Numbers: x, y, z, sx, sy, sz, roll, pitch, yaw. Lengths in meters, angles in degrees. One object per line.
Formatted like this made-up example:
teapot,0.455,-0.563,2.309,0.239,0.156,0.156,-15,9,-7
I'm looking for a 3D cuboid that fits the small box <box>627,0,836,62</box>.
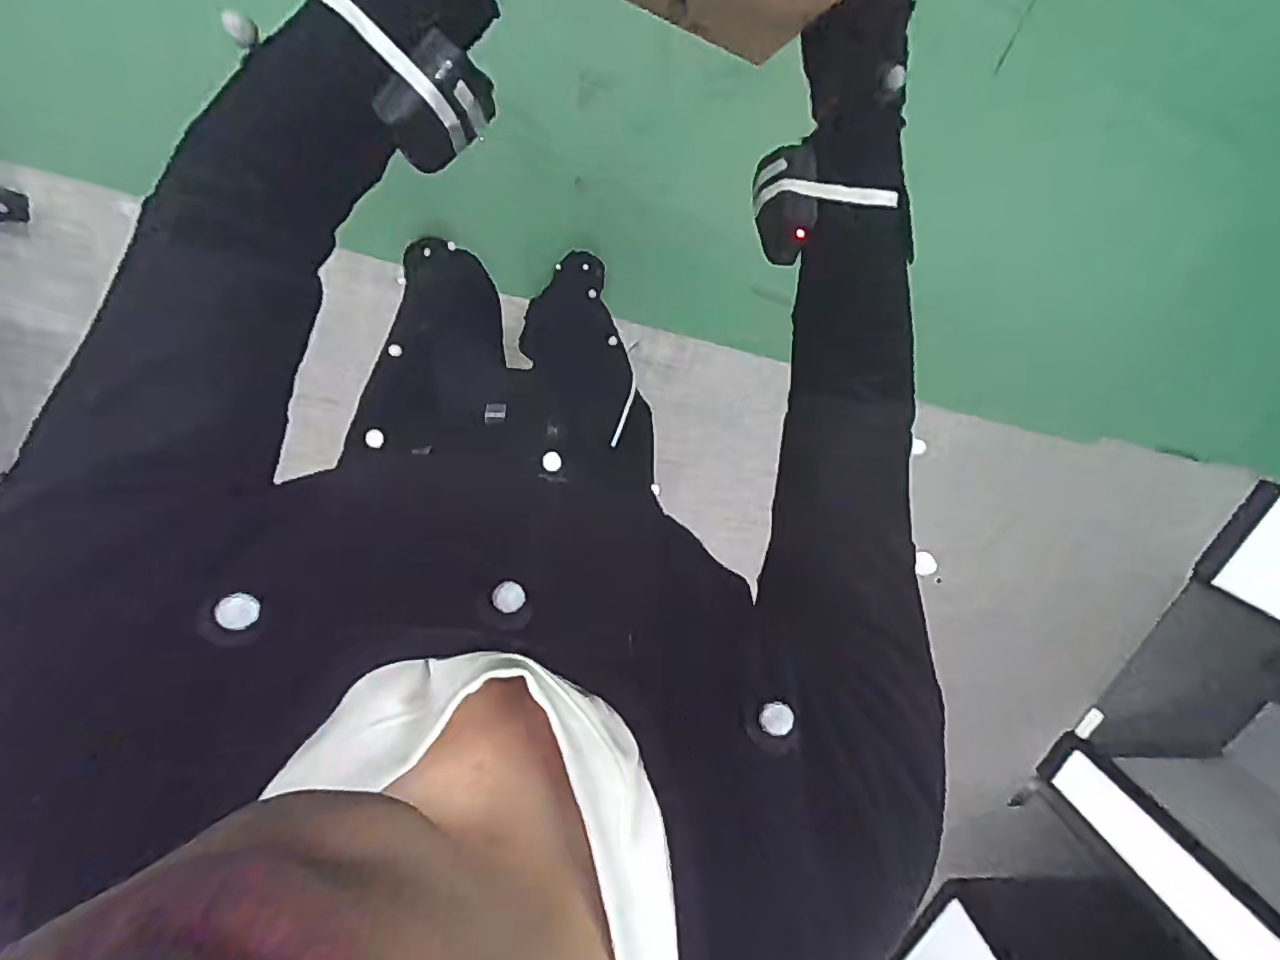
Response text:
small box,0.064,-0.417,0.342,0.168,0.176,0.179,16,112,-15
